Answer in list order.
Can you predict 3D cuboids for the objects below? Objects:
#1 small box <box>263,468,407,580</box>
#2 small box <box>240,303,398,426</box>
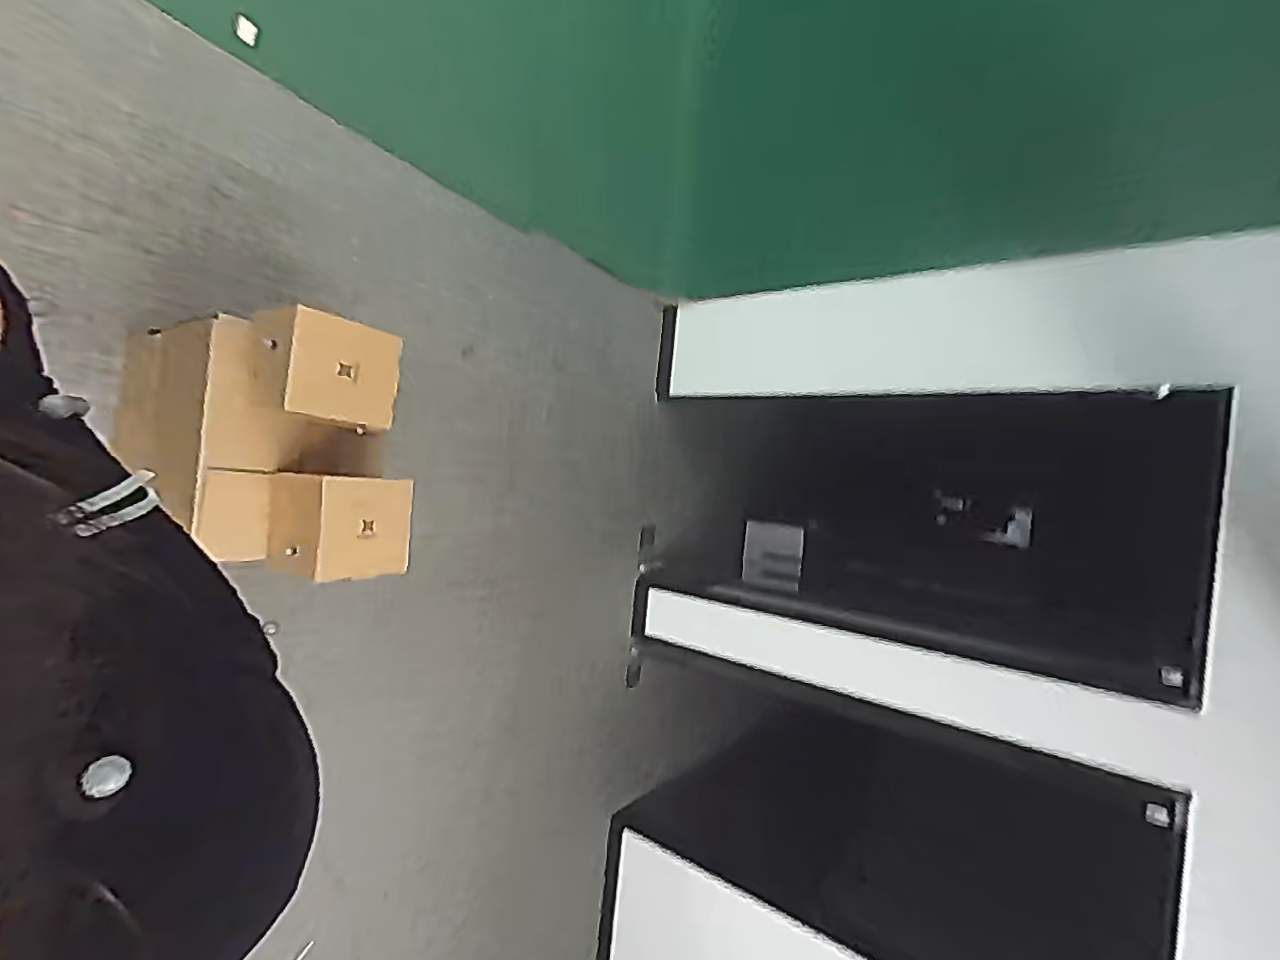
[{"bbox_3d":[-0.555,0.075,0.983,0.168,0.176,0.179,6,88,-58],"label":"small box"},{"bbox_3d":[-0.557,-0.191,0.937,0.179,0.176,0.168,9,89,-56],"label":"small box"}]
